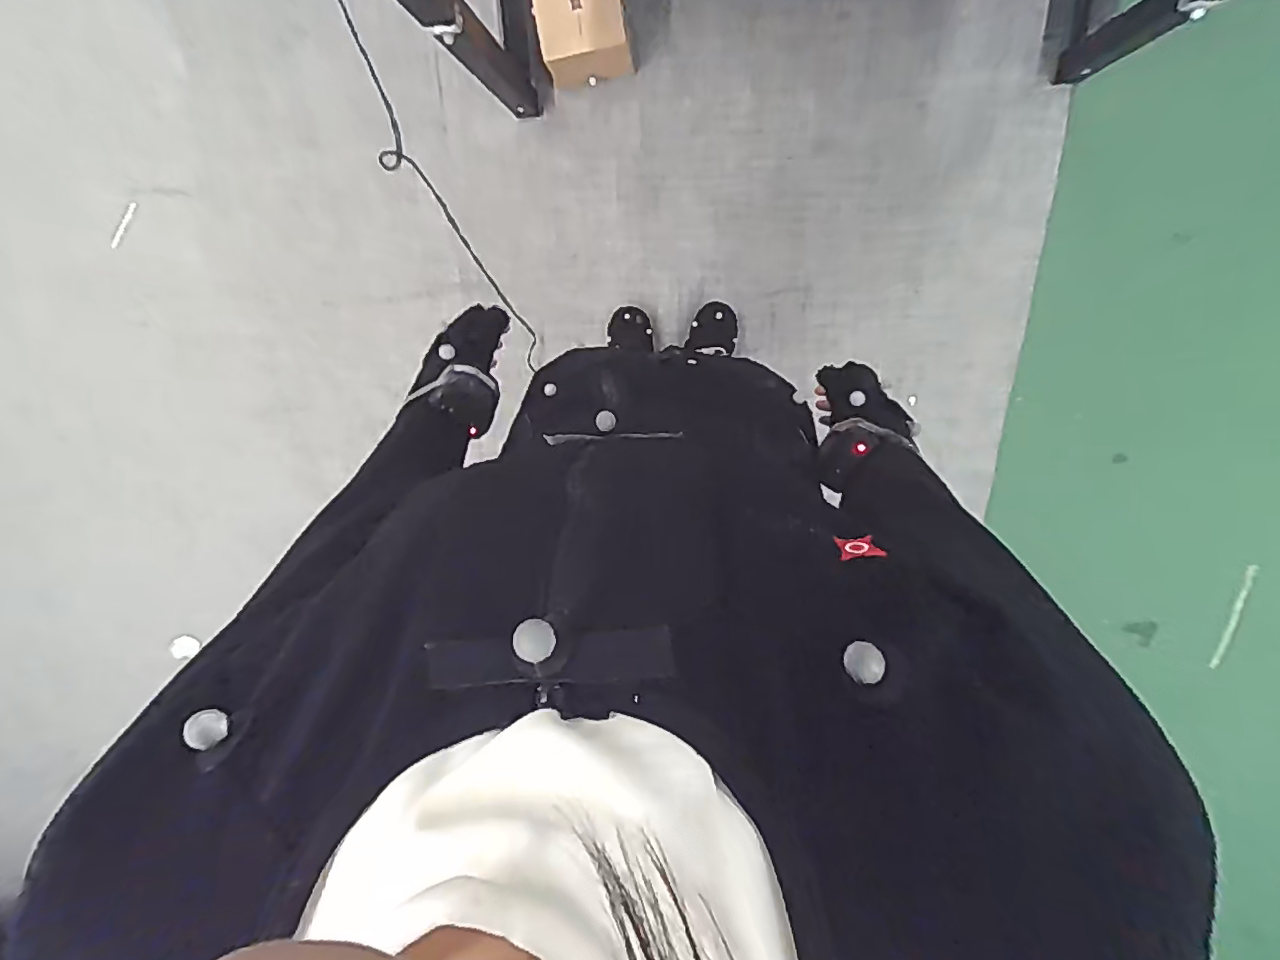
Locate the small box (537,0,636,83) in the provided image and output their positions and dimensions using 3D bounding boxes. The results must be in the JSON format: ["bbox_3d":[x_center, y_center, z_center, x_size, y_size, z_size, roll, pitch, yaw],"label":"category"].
[{"bbox_3d":[-0.106,-0.933,1.074,0.168,0.176,0.179,-7,109,8],"label":"small box"}]
